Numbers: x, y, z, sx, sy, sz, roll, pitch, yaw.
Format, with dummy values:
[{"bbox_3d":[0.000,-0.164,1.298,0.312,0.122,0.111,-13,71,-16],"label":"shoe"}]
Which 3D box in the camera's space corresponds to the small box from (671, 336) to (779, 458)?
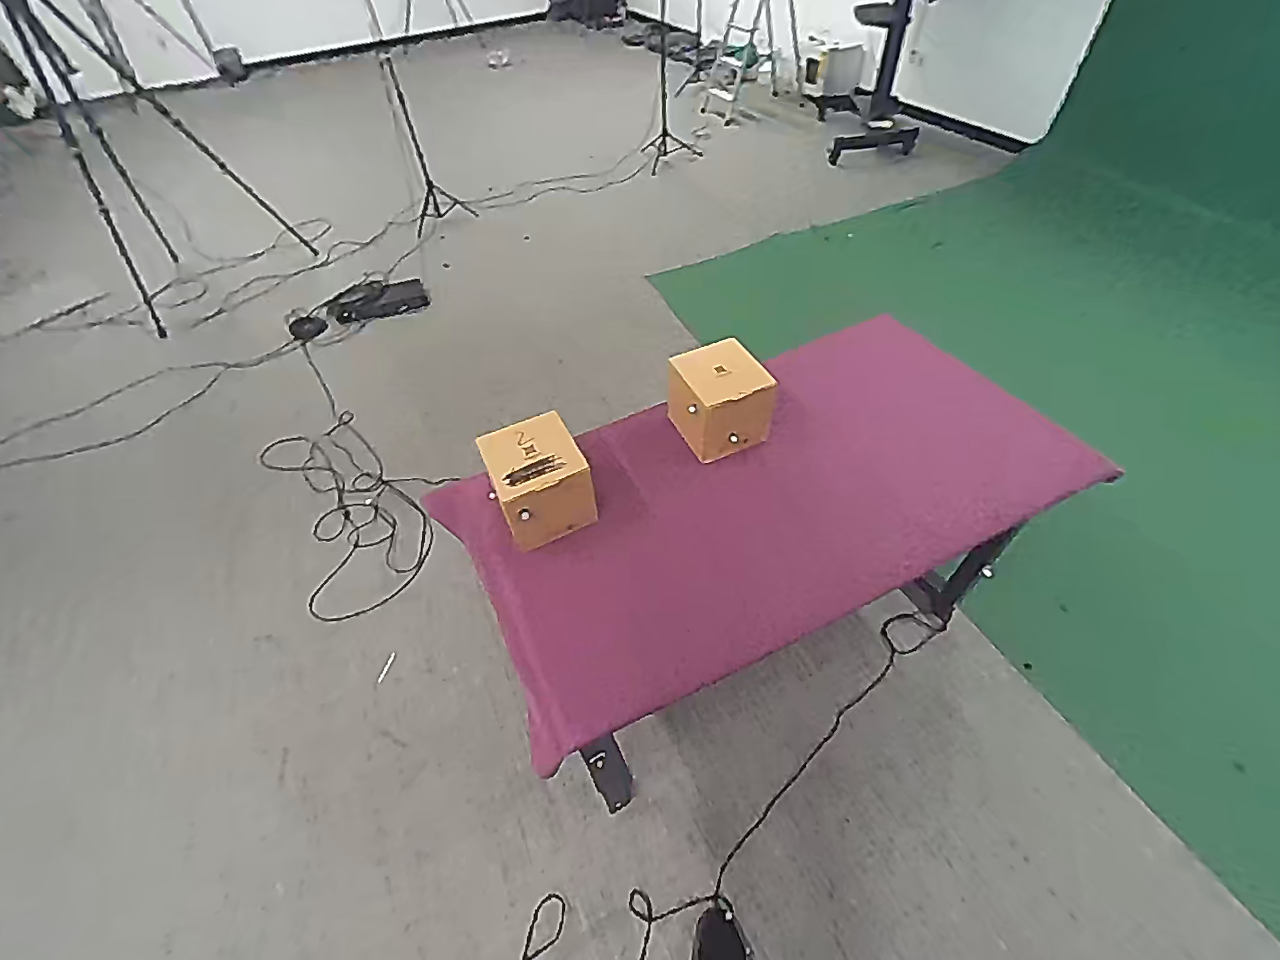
[{"bbox_3d":[0.173,-0.179,1.173,0.168,0.176,0.179,-20,54,-14],"label":"small box"}]
